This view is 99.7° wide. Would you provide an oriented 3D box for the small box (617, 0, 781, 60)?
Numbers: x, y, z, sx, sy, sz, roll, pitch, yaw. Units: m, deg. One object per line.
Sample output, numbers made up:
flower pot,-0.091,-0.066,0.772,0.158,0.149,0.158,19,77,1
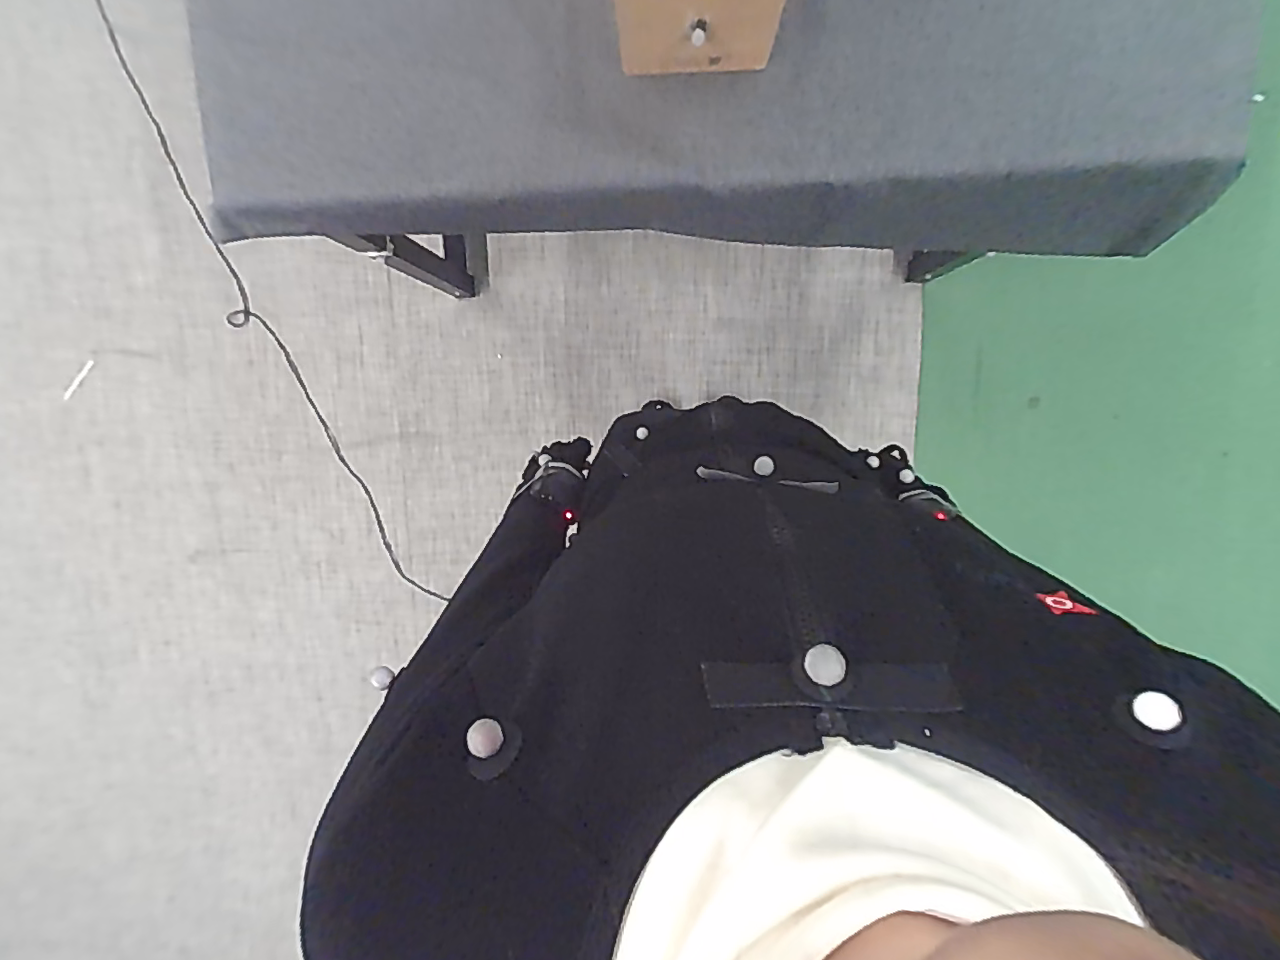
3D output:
small box,0.058,-0.548,0.527,0.168,0.176,0.179,-1,99,4
